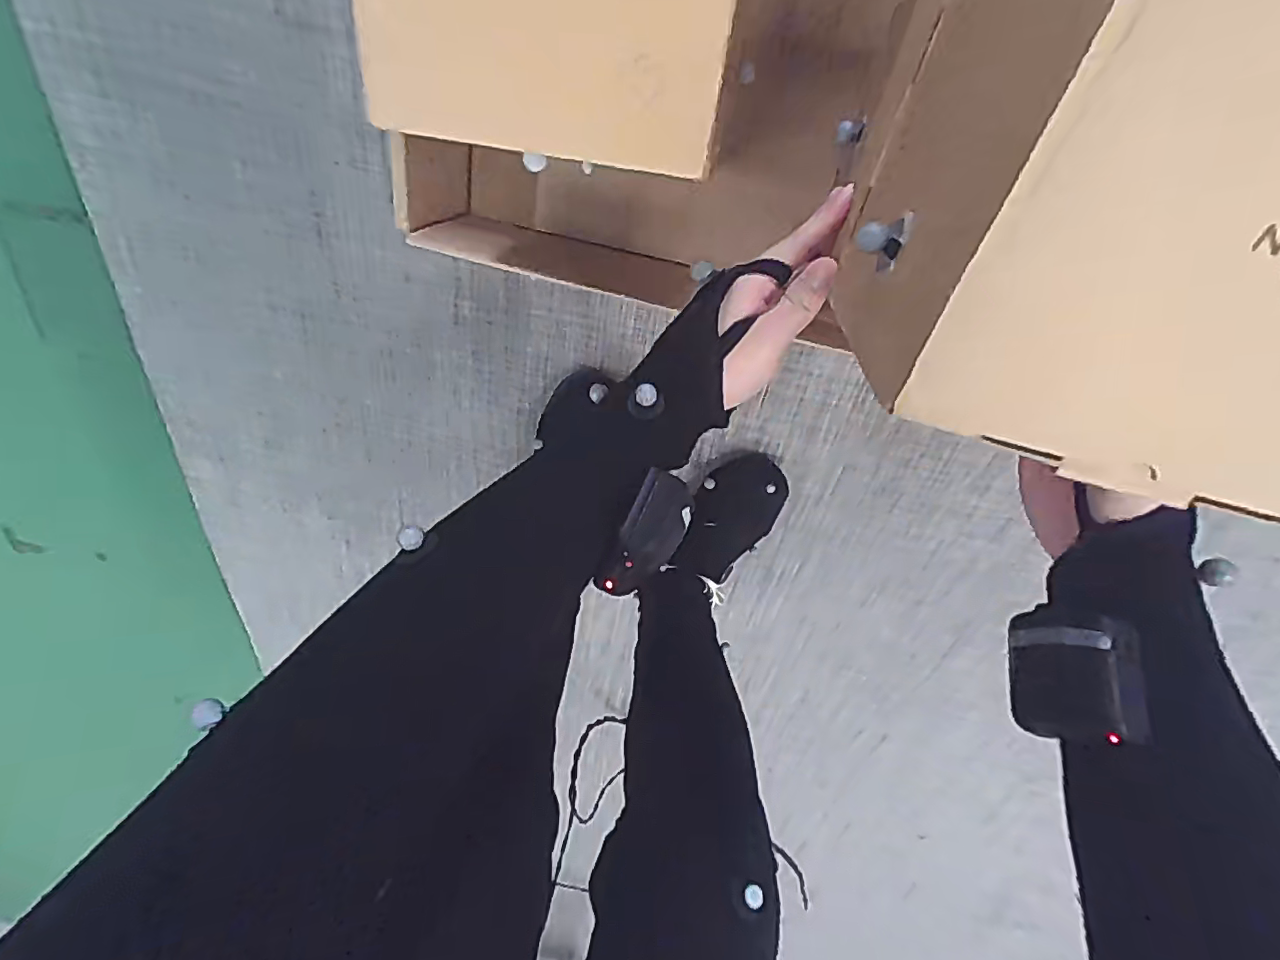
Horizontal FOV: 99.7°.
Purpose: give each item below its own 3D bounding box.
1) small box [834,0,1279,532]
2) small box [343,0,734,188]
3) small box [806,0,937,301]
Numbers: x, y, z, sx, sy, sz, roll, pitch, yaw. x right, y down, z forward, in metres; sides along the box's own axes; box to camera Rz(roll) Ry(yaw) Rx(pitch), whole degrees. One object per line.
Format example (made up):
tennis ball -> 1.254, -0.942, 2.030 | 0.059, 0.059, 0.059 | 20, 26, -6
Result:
small box -> 0.186, -0.112, 0.203 | 0.168, 0.176, 0.179 | 16, 123, 2
small box -> -0.034, -0.268, 0.282 | 0.168, 0.176, 0.179 | 10, 123, 3
small box -> 0.220, -0.193, 0.340 | 0.179, 0.176, 0.168 | 16, 123, 3
